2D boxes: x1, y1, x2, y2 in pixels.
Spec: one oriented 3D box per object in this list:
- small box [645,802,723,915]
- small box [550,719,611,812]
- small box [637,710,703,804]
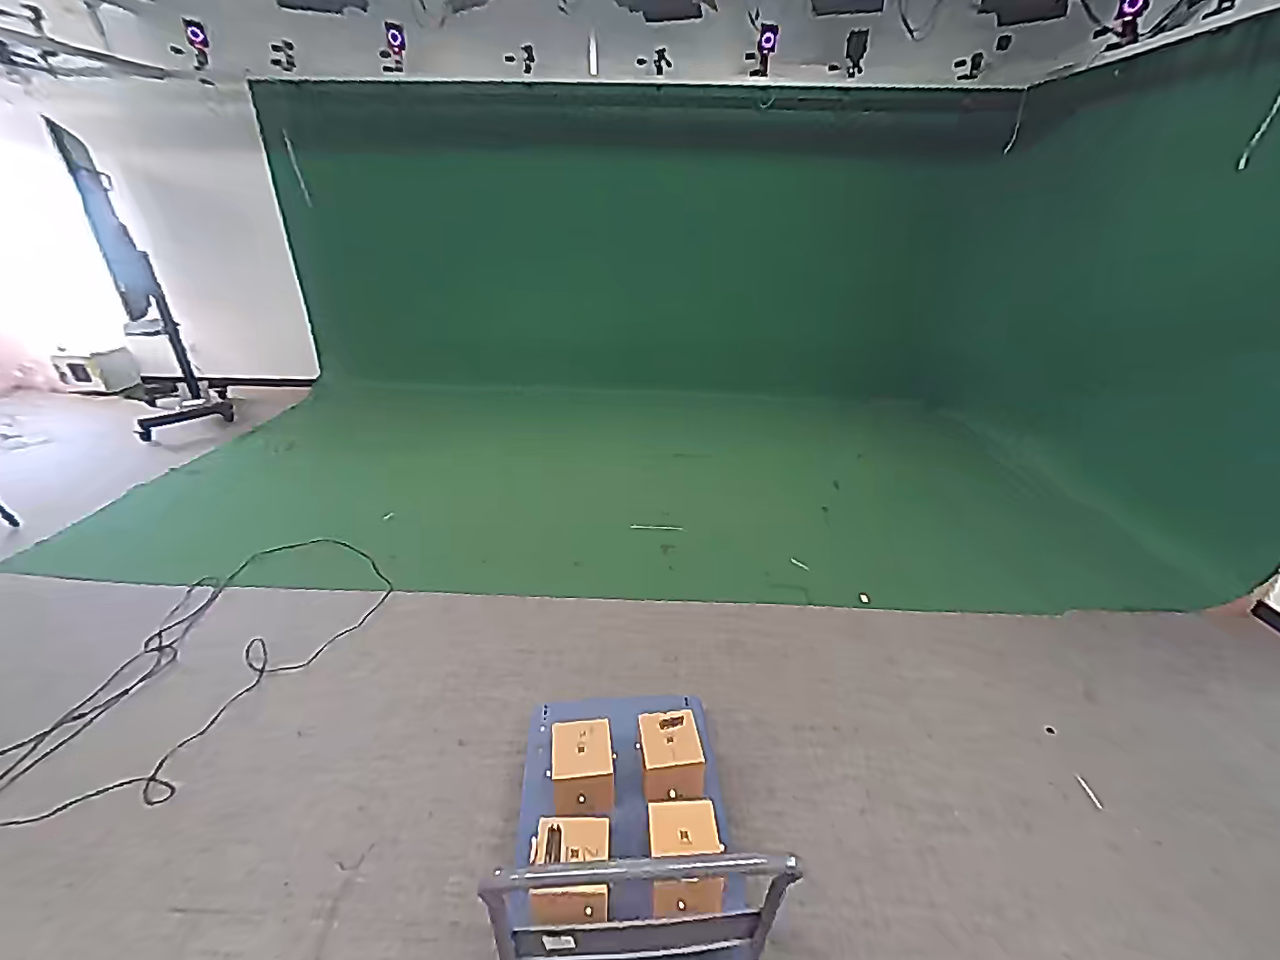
[{"bbox_3d":[0.102,0.934,1.340,0.168,0.176,0.179,0,28,-4],"label":"small box"},{"bbox_3d":[-0.169,0.818,1.543,0.168,0.176,0.179,-2,28,-8],"label":"small box"},{"bbox_3d":[0.081,0.806,1.577,0.168,0.176,0.179,-3,29,-7],"label":"small box"}]
